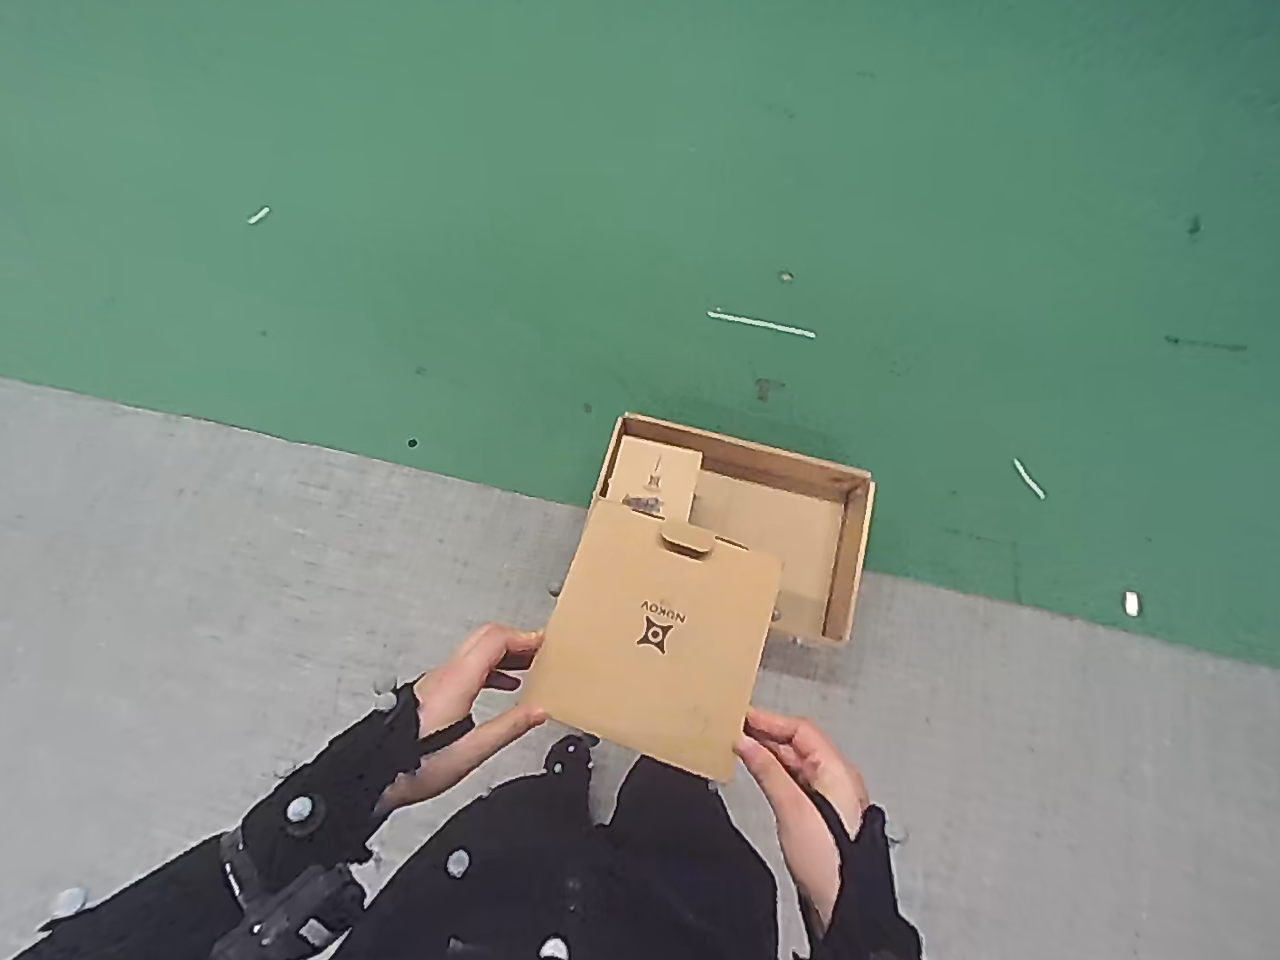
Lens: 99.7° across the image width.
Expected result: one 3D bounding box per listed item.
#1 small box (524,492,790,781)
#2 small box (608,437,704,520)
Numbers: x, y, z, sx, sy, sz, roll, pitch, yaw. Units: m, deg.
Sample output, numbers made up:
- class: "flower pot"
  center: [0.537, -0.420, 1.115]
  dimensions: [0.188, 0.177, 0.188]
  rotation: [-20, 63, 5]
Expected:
- class: "small box"
  center: [0.016, 0.139, 0.492]
  dimensions: [0.168, 0.176, 0.179]
  rotation: [19, 70, 4]
- class: "small box"
  center: [0.028, 0.036, 1.114]
  dimensions: [0.168, 0.176, 0.179]
  rotation: [14, 73, 4]
